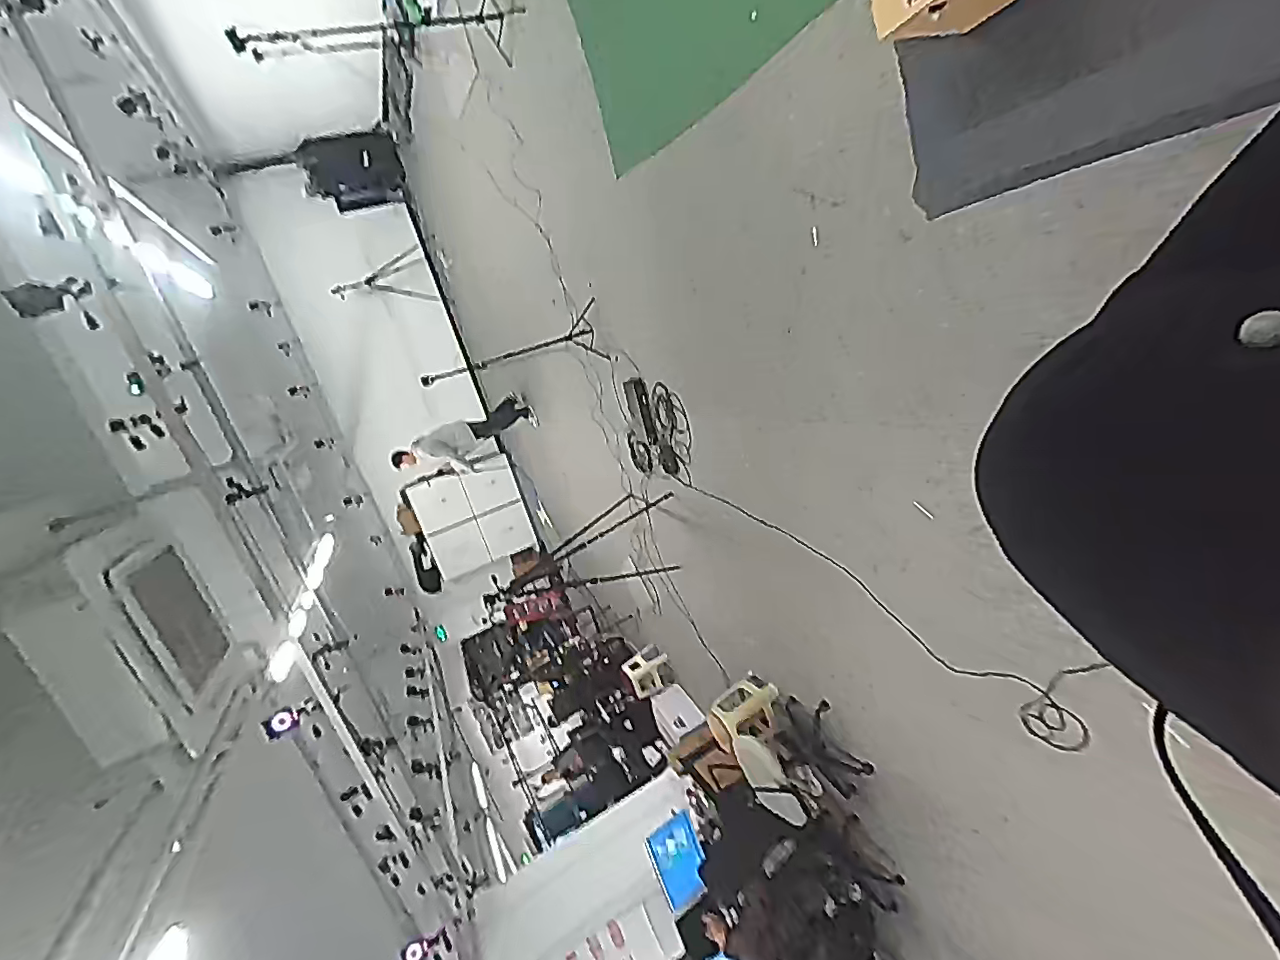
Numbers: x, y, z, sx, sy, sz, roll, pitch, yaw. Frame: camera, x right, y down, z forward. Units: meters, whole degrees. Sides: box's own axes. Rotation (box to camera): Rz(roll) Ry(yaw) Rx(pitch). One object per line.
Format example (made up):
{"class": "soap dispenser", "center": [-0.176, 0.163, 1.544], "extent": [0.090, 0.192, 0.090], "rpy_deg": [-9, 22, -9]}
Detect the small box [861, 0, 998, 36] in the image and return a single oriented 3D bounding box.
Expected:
{"class": "small box", "center": [0.365, -0.650, 0.610], "extent": [0.168, 0.176, 0.179], "rpy_deg": [15, 126, 64]}
